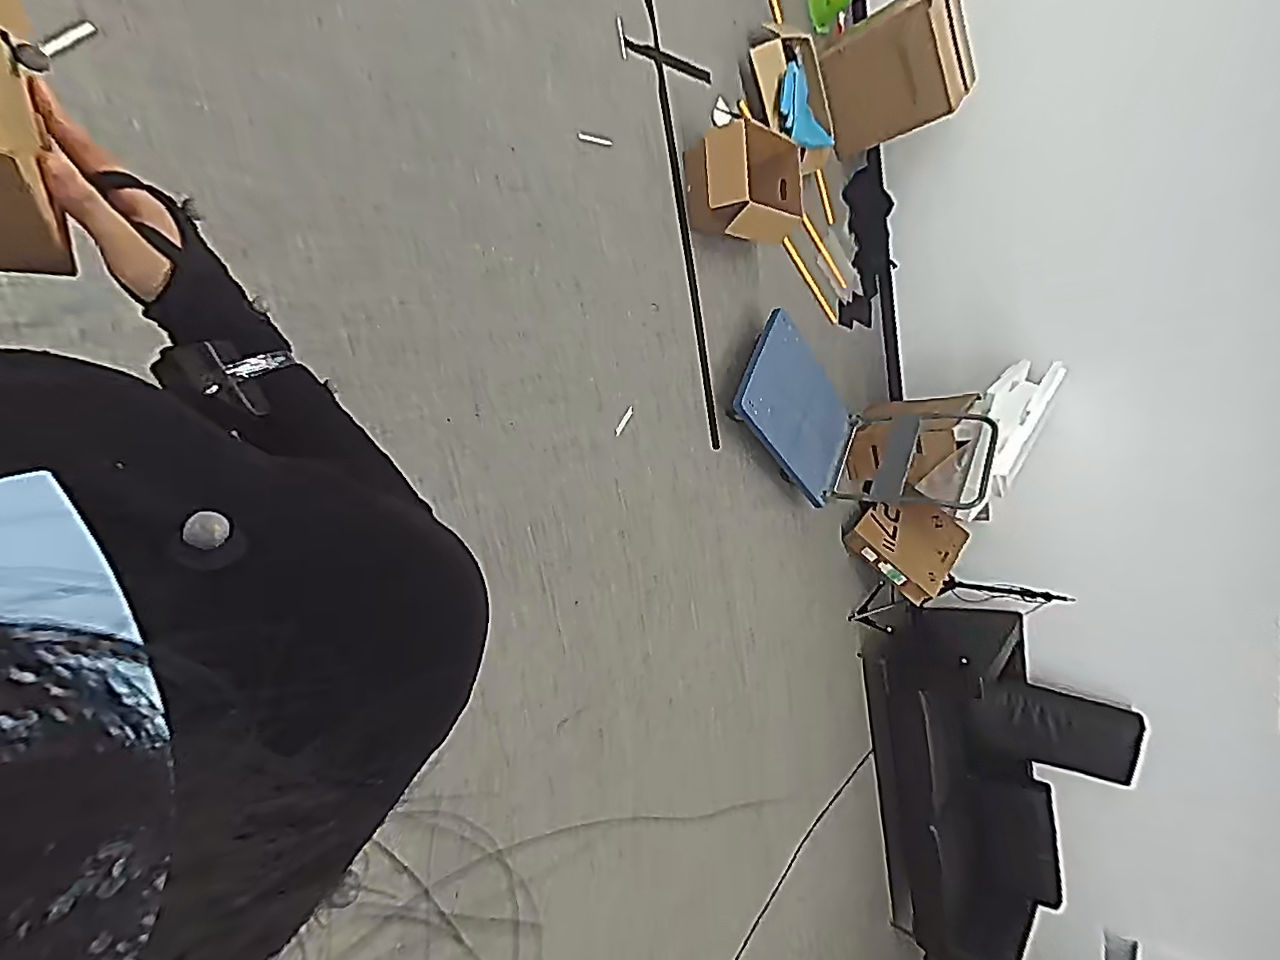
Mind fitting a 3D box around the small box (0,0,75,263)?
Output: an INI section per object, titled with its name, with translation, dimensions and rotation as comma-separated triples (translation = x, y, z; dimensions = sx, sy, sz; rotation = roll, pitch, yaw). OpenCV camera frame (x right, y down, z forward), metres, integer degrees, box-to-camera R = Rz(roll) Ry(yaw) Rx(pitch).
[small box]
translation = -0.417, -0.226, 0.264
dimensions = 0.168, 0.176, 0.179
rotation = -10, 93, -40
